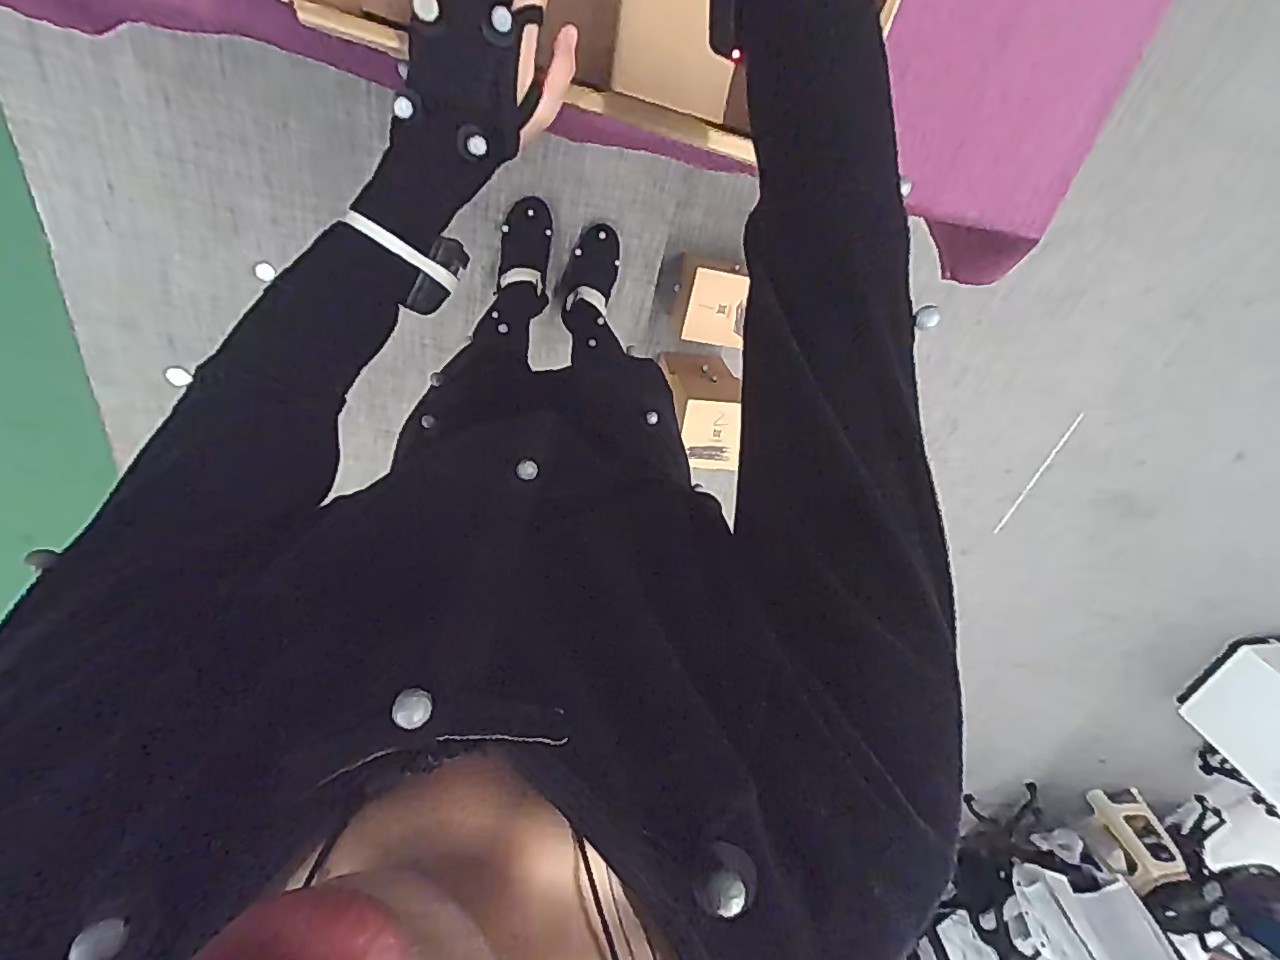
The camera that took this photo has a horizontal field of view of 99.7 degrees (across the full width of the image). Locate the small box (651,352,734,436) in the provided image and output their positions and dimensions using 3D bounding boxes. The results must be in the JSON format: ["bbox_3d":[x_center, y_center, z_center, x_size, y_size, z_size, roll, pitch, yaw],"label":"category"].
[{"bbox_3d":[0.131,-0.232,1.440,0.179,0.176,0.168,3,122,-10],"label":"small box"}]
